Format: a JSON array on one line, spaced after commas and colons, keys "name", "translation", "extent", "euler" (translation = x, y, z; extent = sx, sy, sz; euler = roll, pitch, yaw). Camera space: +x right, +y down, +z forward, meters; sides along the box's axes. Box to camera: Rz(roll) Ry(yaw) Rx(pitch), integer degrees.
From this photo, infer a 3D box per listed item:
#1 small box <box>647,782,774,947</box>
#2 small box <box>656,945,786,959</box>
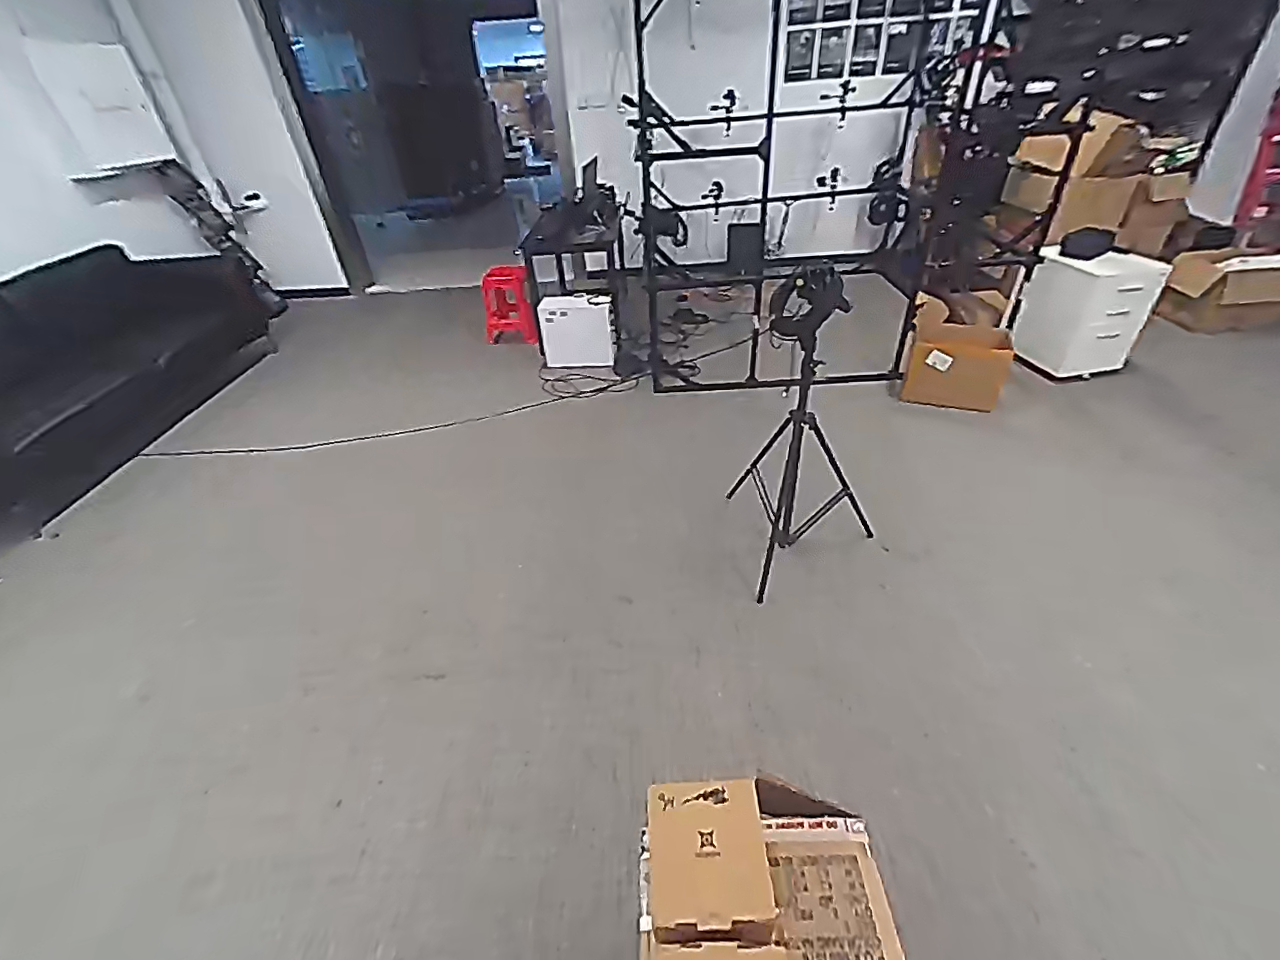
[{"name": "small box", "translation": [0.100, 0.583, 0.814], "extent": [0.168, 0.176, 0.179], "euler": [-4, 41, 2]}, {"name": "small box", "translation": [0.104, 0.705, 0.665], "extent": [0.168, 0.176, 0.179], "euler": [-3, 40, 4]}]
